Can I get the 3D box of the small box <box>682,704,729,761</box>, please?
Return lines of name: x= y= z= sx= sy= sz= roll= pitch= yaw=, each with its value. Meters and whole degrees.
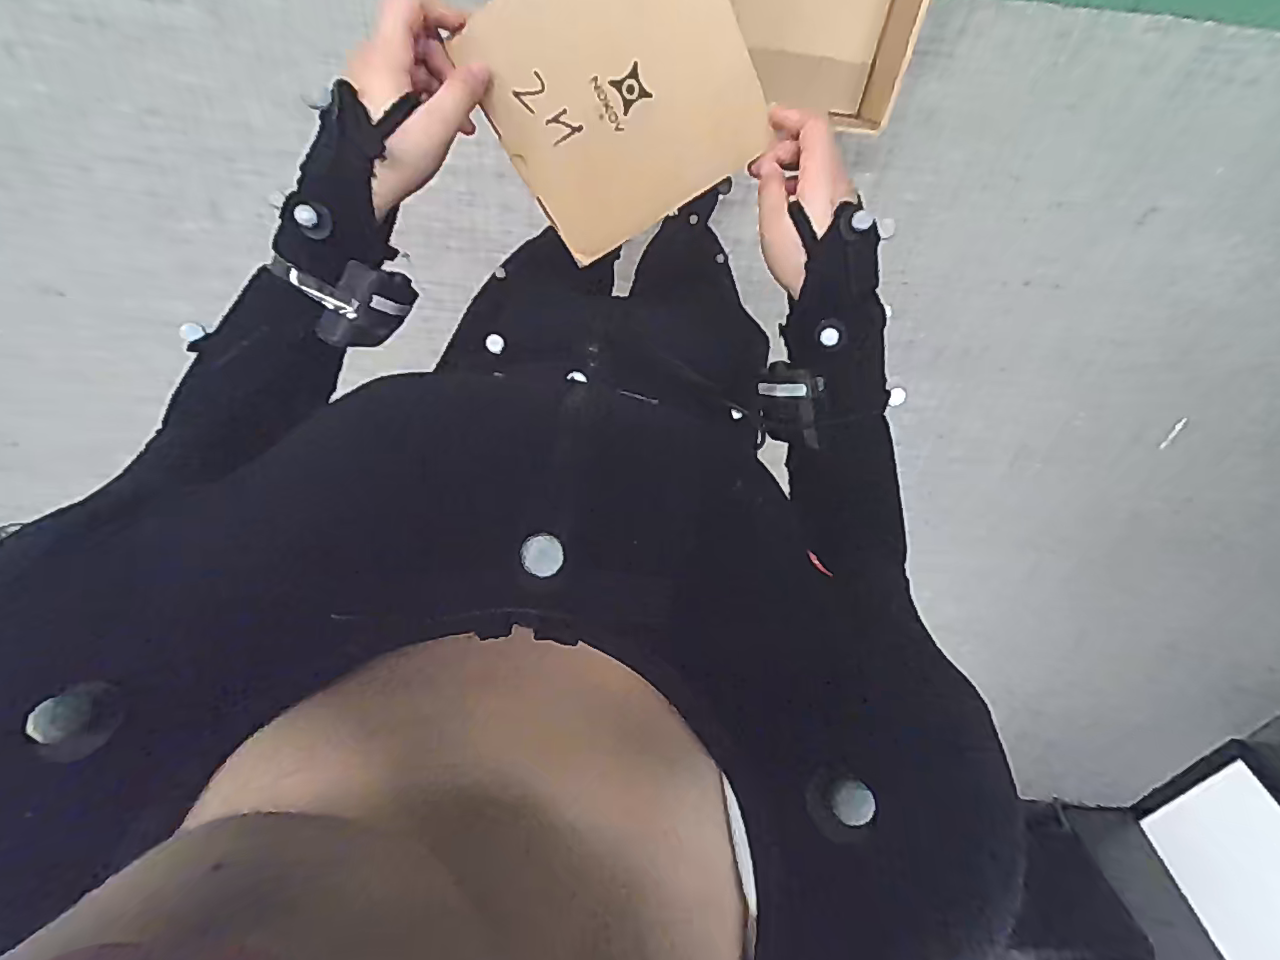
small box: x=0.270 y=1.059 z=2.271 sx=0.179 sy=0.176 sz=0.168 roll=-1 pitch=130 yaw=1

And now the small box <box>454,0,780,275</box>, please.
small box: x=-0.014 y=-0.304 z=0.436 sx=0.179 sy=0.176 sz=0.168 roll=-26 pitch=123 yaw=16
